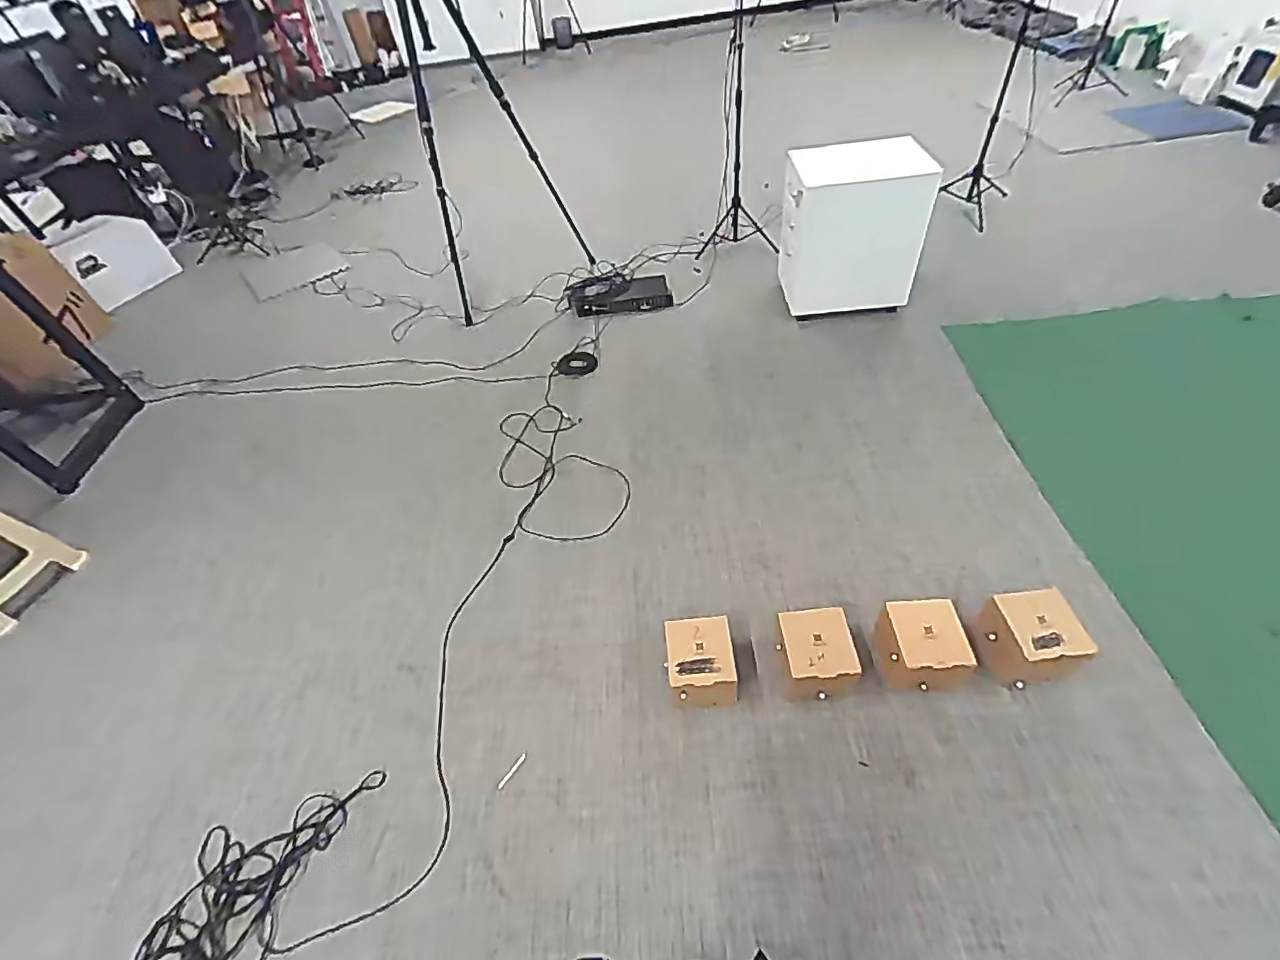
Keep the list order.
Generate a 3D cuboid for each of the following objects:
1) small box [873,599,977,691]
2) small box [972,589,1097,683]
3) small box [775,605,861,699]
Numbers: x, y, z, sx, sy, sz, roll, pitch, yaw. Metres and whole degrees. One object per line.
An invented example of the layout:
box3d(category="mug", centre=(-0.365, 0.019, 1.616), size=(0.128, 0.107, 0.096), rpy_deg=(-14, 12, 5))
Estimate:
box3d(category="small box", centre=(0.717, 0.424, 1.385), size=(0.168, 0.176, 0.179), rpy_deg=(-4, 49, 4))
box3d(category="small box", centre=(0.985, 0.400, 1.367), size=(0.168, 0.176, 0.179), rpy_deg=(-6, 48, 2))
box3d(category="small box", centre=(0.450, 0.447, 1.400), size=(0.168, 0.176, 0.179), rpy_deg=(-6, 49, 4))
